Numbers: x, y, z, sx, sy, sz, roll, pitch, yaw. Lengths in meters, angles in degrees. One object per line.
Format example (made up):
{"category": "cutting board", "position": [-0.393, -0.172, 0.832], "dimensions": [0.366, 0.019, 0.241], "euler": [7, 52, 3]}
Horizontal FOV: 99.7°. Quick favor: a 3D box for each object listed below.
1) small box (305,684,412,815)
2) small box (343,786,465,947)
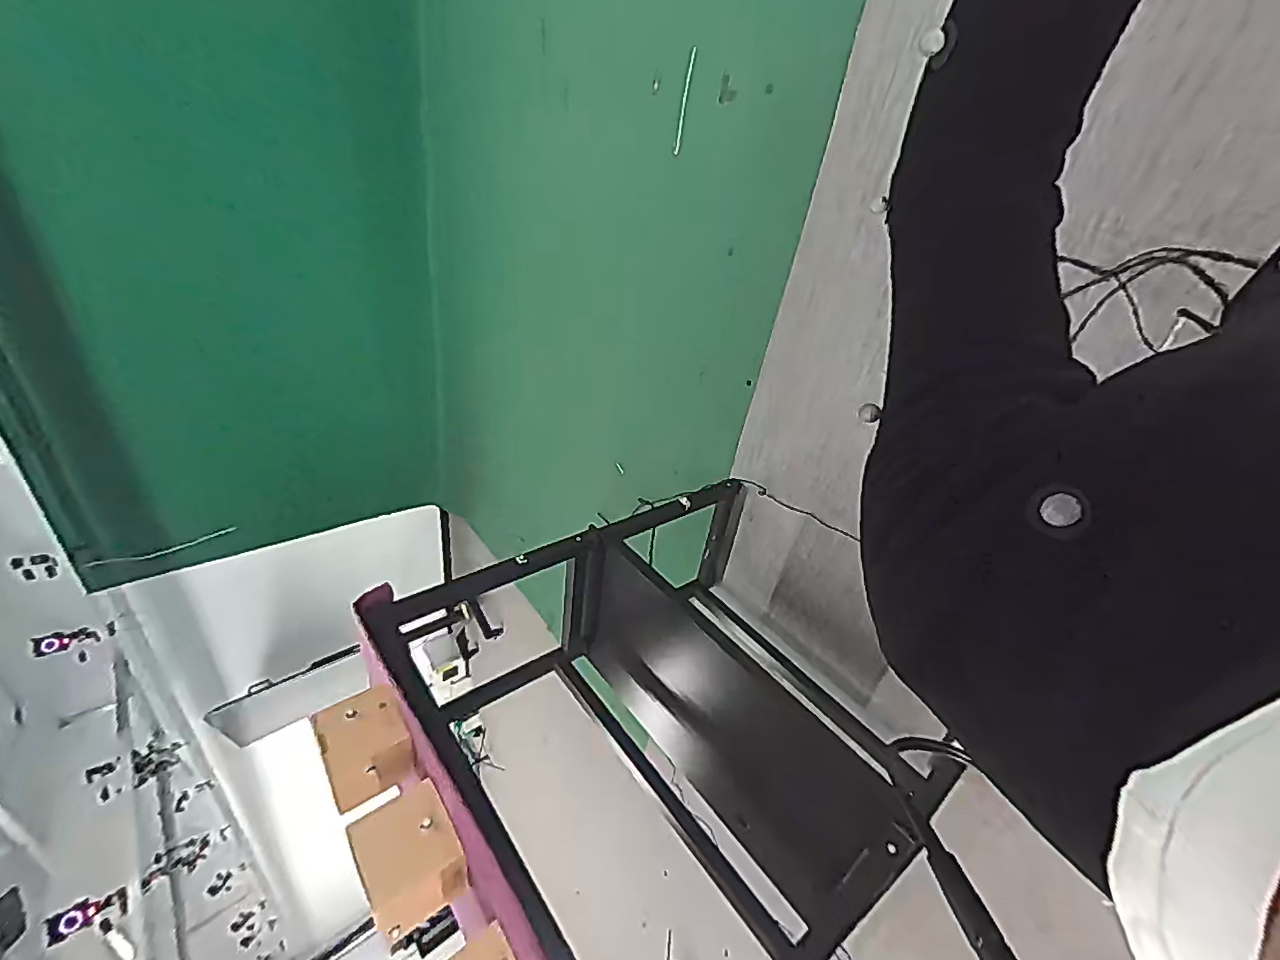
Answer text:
{"category": "small box", "position": [-0.631, 0.601, 1.225], "dimensions": [0.168, 0.176, 0.179], "euler": [42, 134, 35]}
{"category": "small box", "position": [-0.456, 0.738, 1.056], "dimensions": [0.179, 0.176, 0.168], "euler": [39, 133, 38]}
